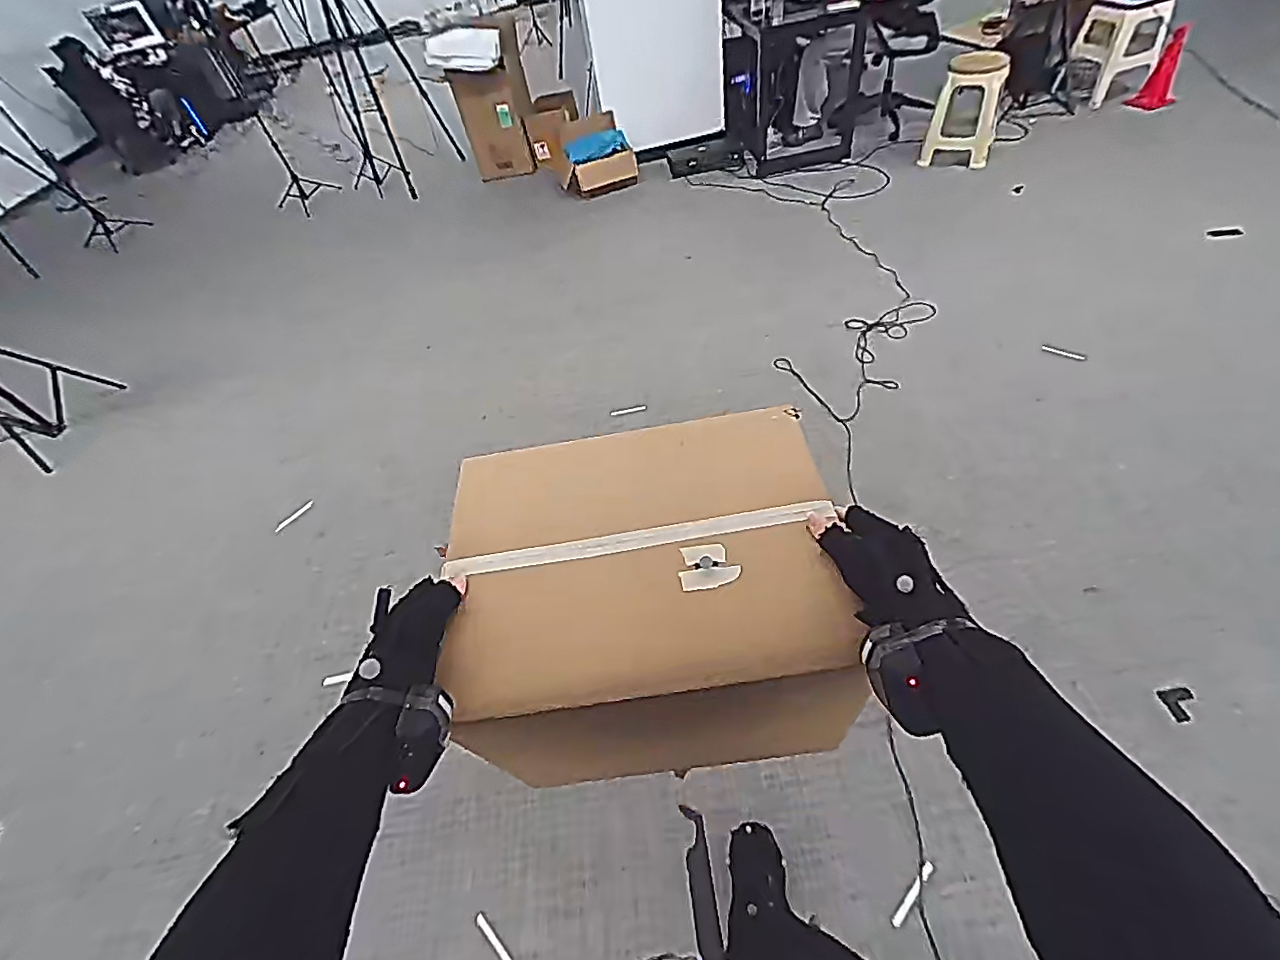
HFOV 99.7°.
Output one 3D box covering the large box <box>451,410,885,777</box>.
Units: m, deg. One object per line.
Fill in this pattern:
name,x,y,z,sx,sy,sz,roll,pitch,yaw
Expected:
large box,0.025,0.154,0.689,0.408,0.320,0.320,-9,52,2
